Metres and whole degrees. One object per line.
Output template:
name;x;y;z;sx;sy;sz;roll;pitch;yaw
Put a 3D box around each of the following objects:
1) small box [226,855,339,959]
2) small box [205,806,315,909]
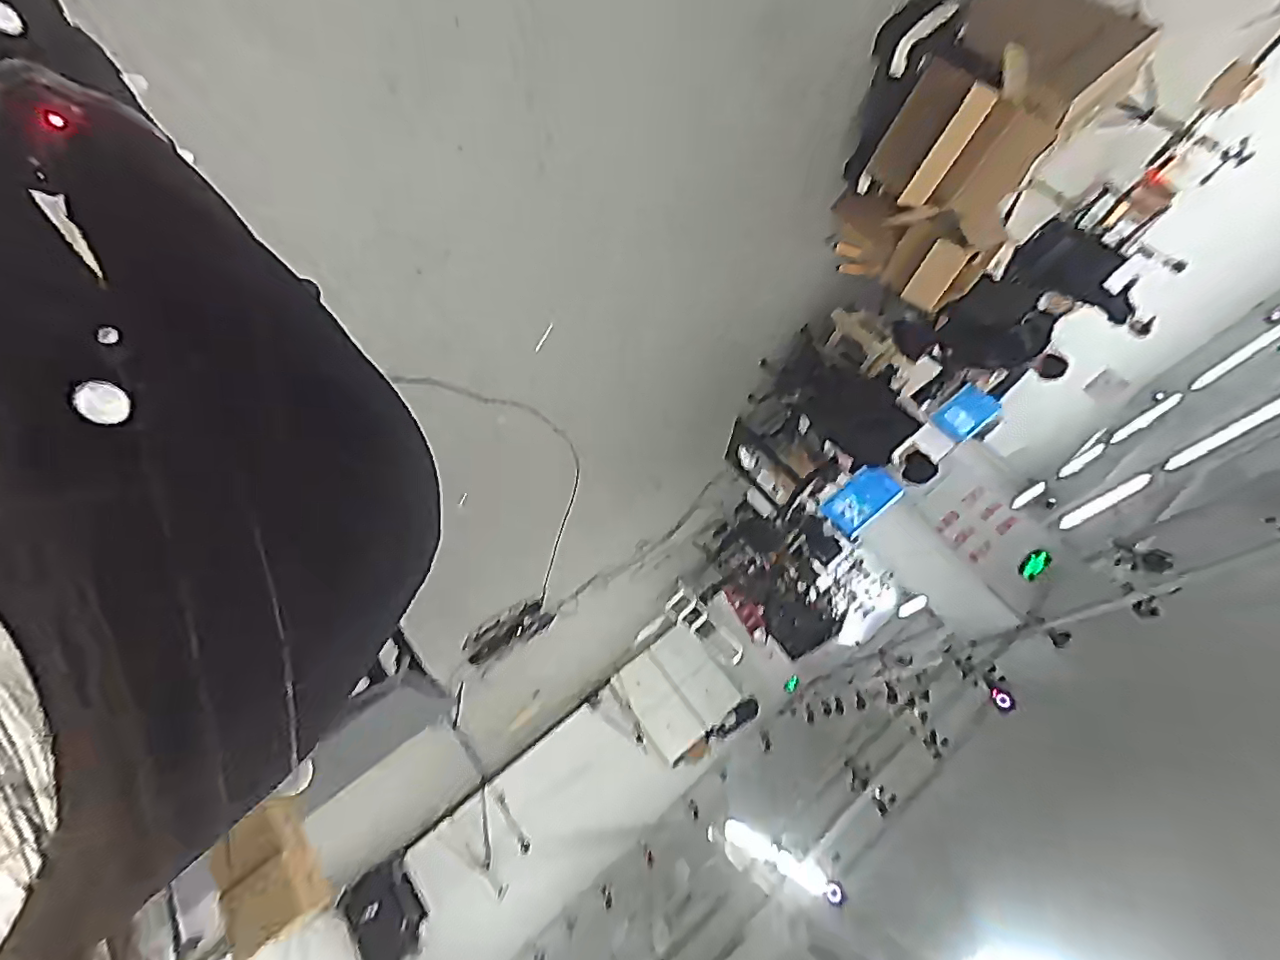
small box;-0.969;1.164;1.467;0.168;0.176;0.179;-37;158;-16
small box;-1.076;1.056;1.537;0.179;0.176;0.168;-34;159;-20
